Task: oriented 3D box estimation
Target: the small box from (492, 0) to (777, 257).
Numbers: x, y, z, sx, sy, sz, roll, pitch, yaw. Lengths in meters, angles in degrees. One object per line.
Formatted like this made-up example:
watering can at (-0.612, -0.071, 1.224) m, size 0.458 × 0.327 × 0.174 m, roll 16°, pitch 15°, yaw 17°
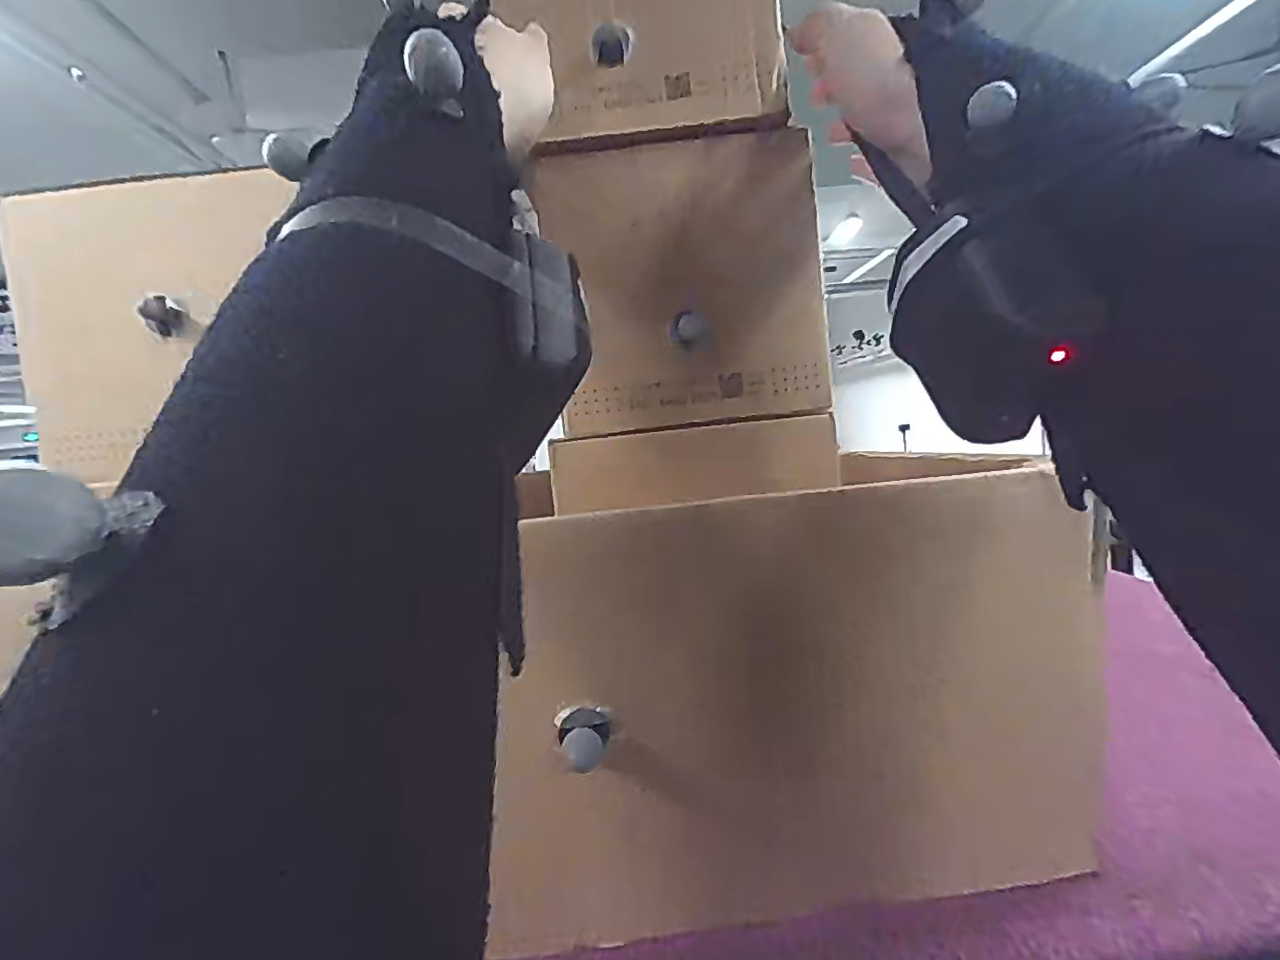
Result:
small box at (-0.004, -0.277, 0.391) m, size 0.168 × 0.176 × 0.179 m, roll -6°, pitch 4°, yaw 2°
